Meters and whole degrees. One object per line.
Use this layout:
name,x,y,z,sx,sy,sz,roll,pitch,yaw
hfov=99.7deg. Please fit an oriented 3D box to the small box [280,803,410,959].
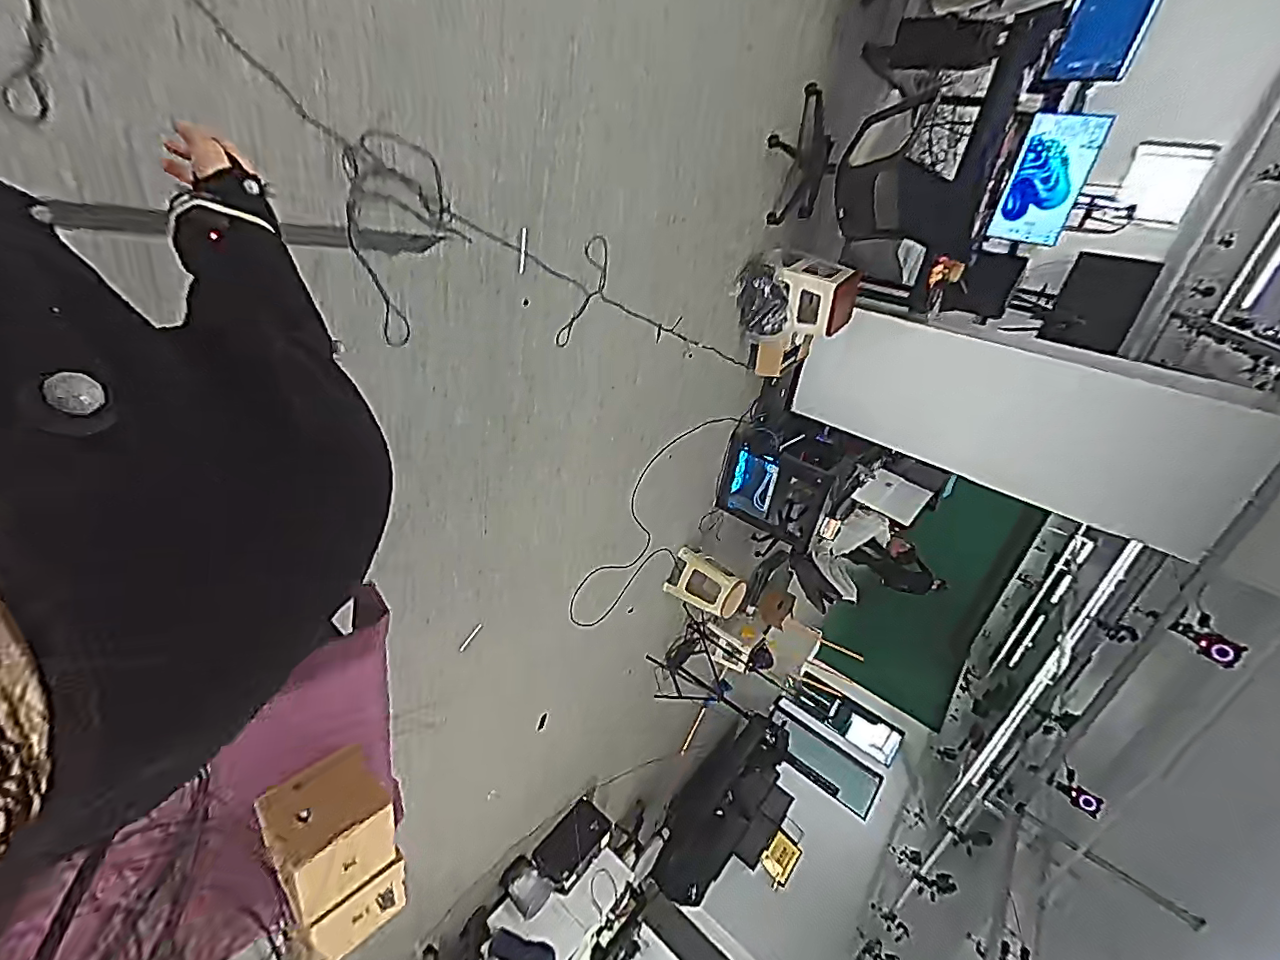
small box,-0.591,0.807,1.093,0.179,0.176,0.168,-20,127,-48
